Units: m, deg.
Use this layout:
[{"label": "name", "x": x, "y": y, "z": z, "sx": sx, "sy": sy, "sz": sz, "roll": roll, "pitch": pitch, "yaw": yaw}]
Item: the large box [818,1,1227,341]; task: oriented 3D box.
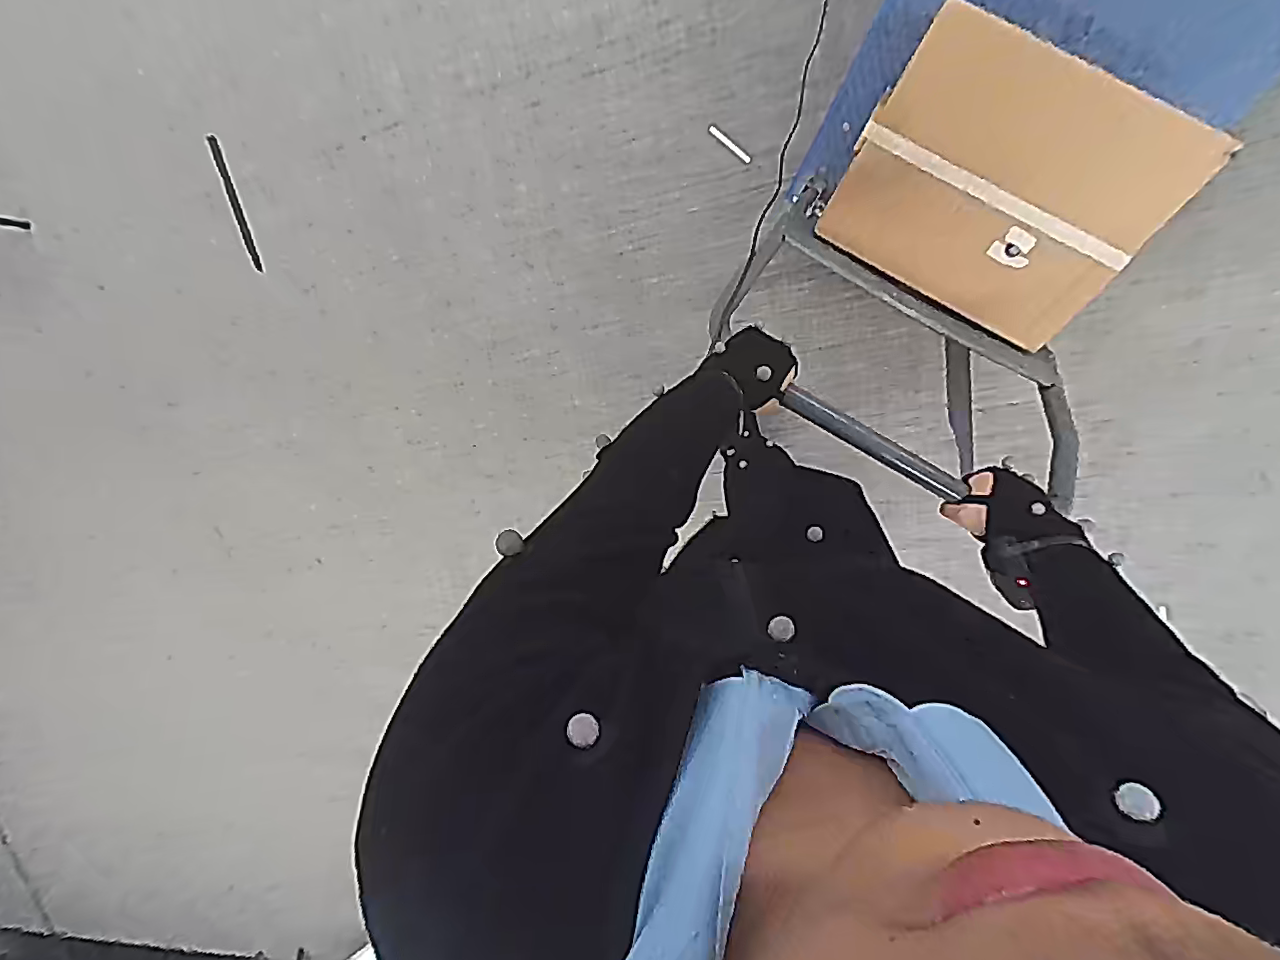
[{"label": "large box", "x": 0.566, "y": -0.503, "z": 0.897, "sx": 0.408, "sy": 0.320, "sz": 0.320, "roll": 31, "pitch": 132, "yaw": 3}]
